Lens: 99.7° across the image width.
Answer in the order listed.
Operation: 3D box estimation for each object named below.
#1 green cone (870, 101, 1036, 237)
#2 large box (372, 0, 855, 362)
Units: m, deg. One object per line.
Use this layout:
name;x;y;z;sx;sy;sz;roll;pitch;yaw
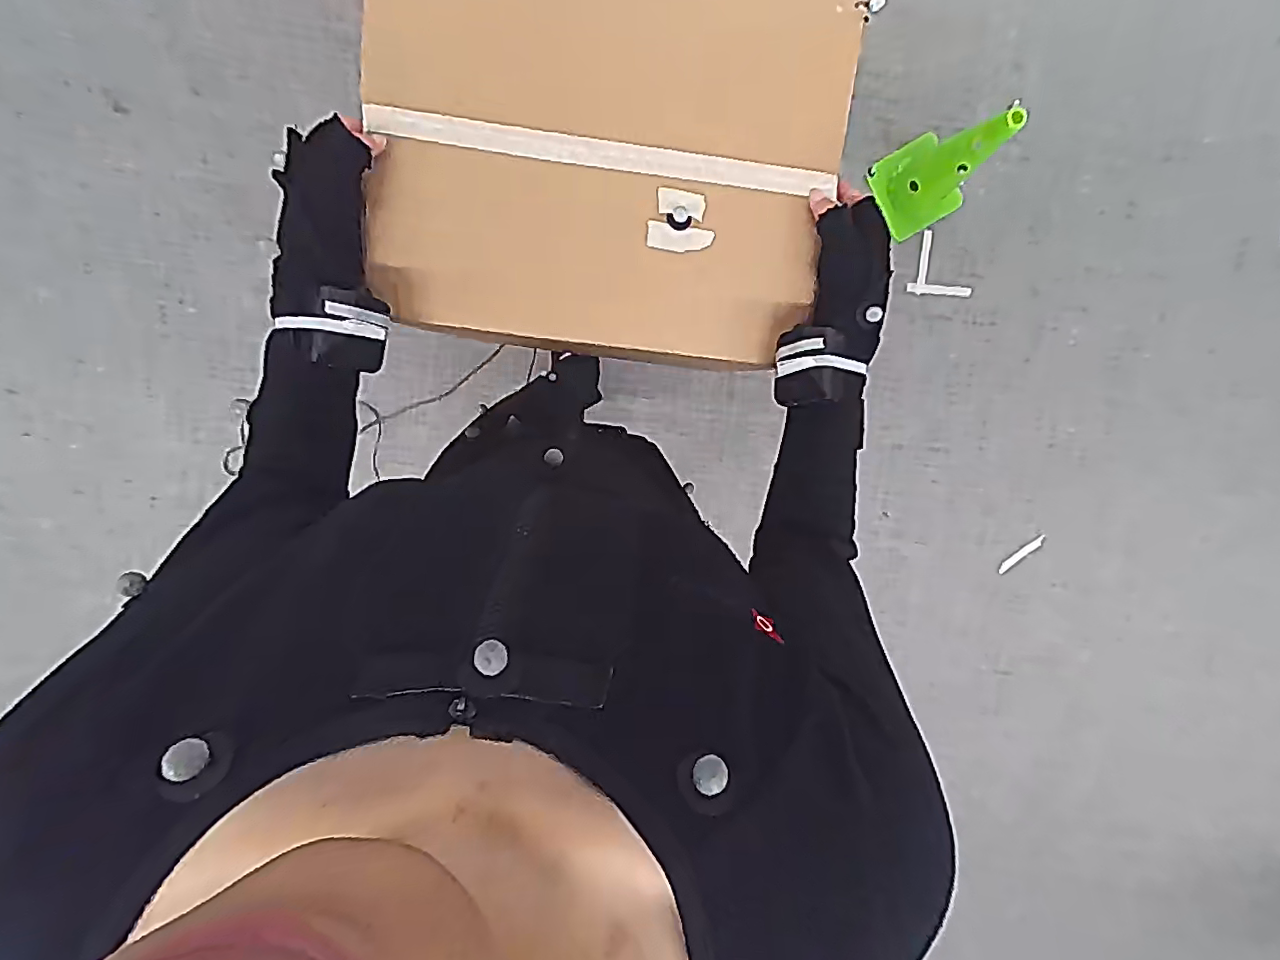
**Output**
green cone;0.715;-0.719;1.199;0.202;0.368;0.200;-32;100;1
large box;-0.038;-0.314;0.615;0.408;0.320;0.320;6;101;-6
